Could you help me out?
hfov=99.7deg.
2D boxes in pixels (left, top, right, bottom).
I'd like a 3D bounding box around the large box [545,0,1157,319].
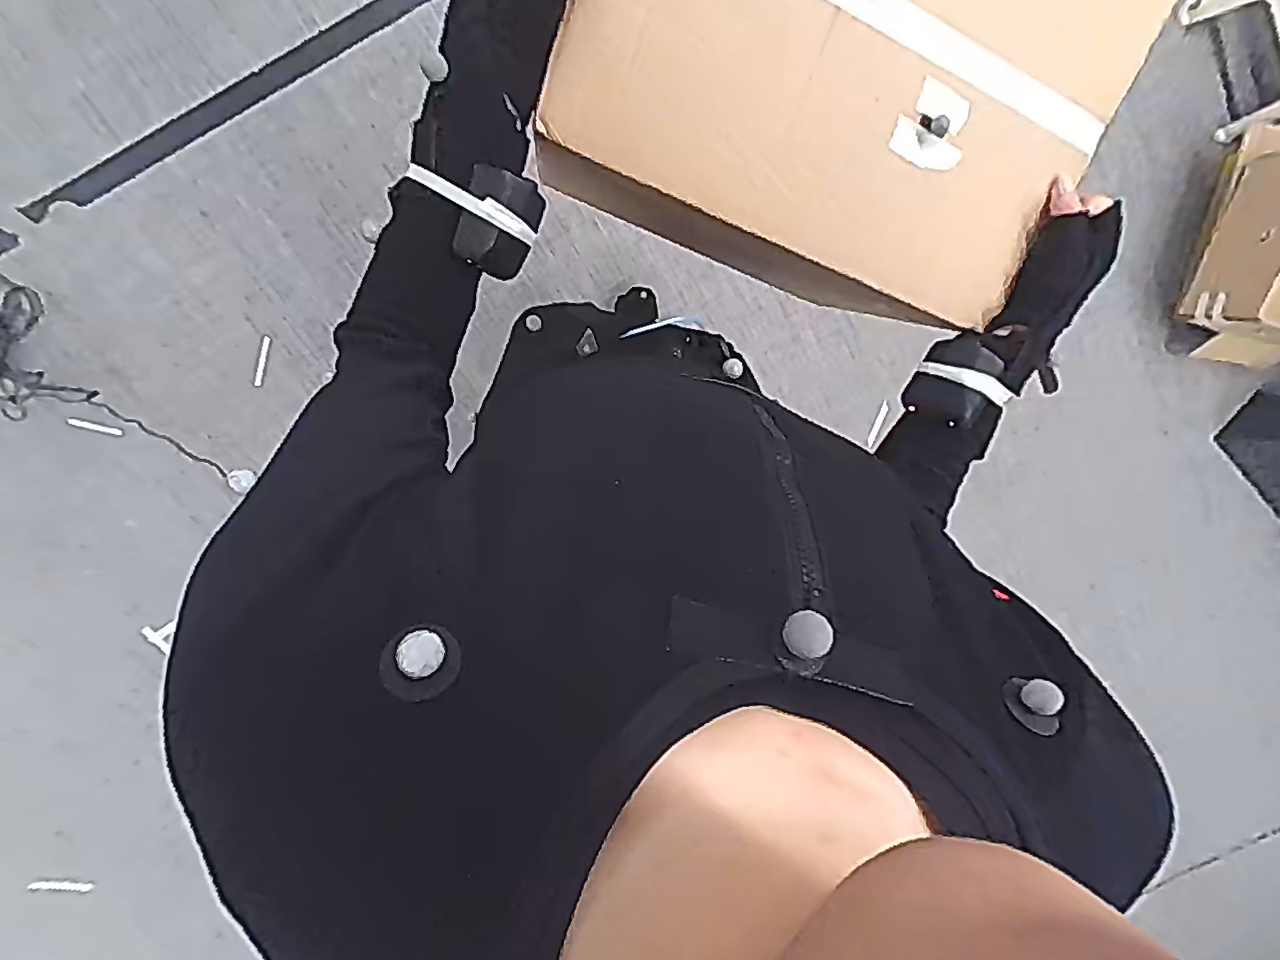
[{"bbox_3d":[0.144,-0.385,0.515,0.408,0.320,0.320,16,110,-17],"label":"large box"}]
